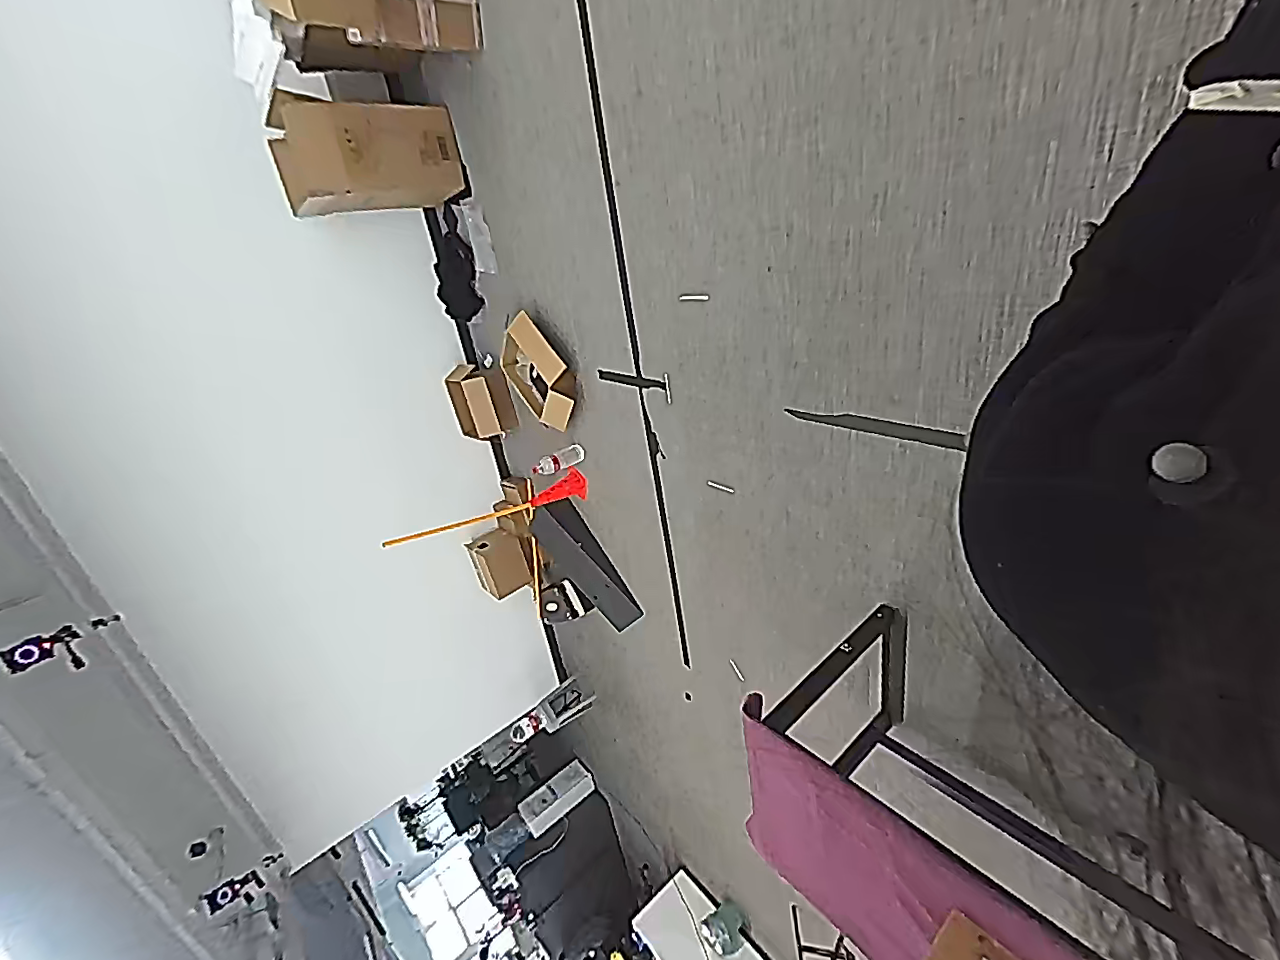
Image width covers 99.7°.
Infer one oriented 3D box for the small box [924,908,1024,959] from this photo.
[{"bbox_3d":[0.673,1.027,1.083,0.168,0.176,0.179,23,131,46],"label":"small box"}]
